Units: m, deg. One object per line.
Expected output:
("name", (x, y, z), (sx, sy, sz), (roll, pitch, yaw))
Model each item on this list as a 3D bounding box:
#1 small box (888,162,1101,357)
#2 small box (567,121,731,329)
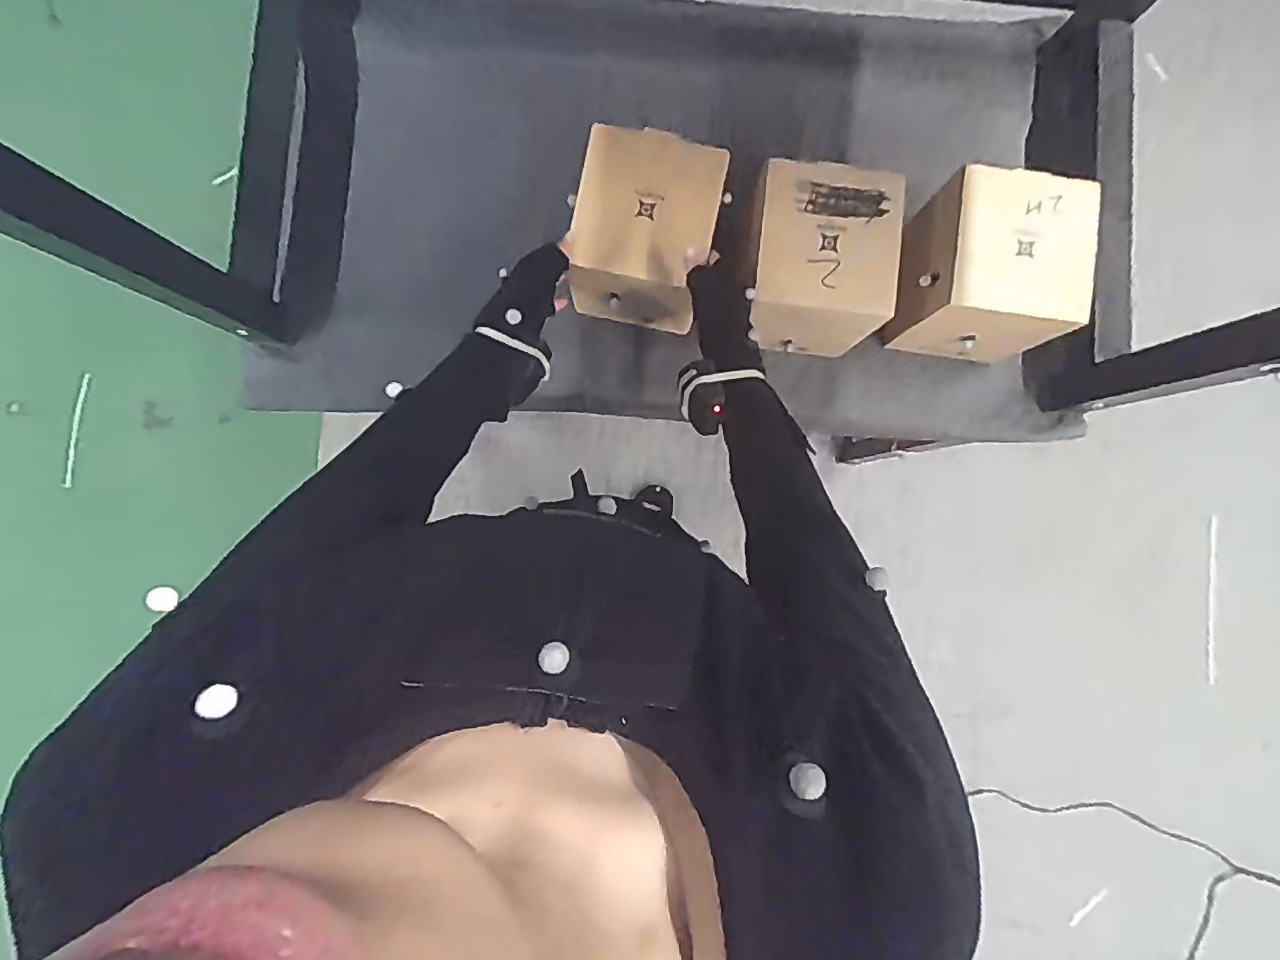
("small box", (0.449, -0.275, 0.713), (0.168, 0.176, 0.179), (8, 86, -1))
("small box", (0.010, -0.317, 0.709), (0.168, 0.176, 0.179), (11, 87, -1))
